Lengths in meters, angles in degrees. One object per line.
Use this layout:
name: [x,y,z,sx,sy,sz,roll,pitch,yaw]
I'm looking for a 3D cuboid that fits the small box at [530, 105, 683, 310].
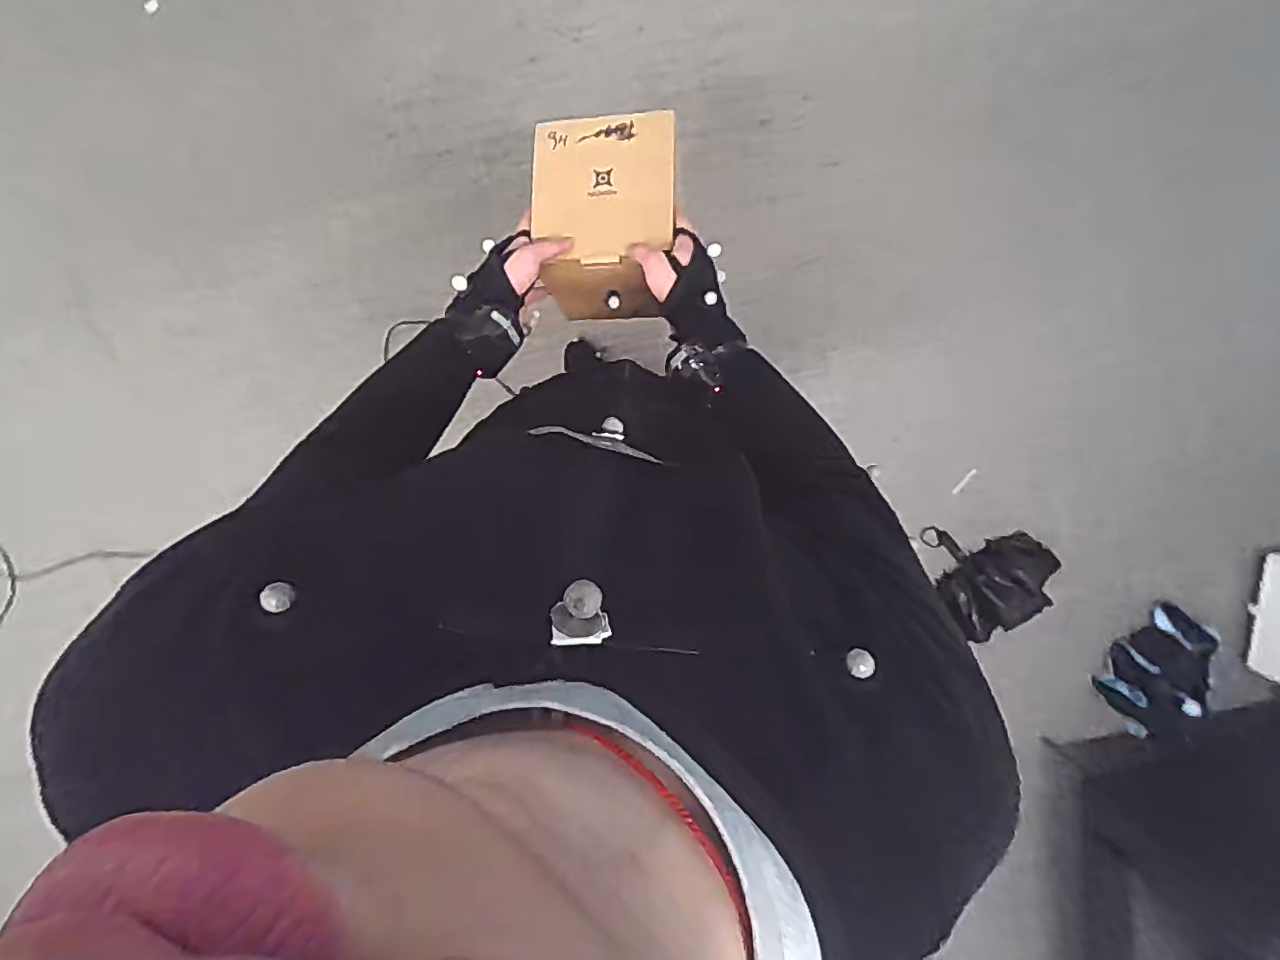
small box: [-0.033,-0.329,0.694,0.168,0.176,0.179,-1,84,8]
